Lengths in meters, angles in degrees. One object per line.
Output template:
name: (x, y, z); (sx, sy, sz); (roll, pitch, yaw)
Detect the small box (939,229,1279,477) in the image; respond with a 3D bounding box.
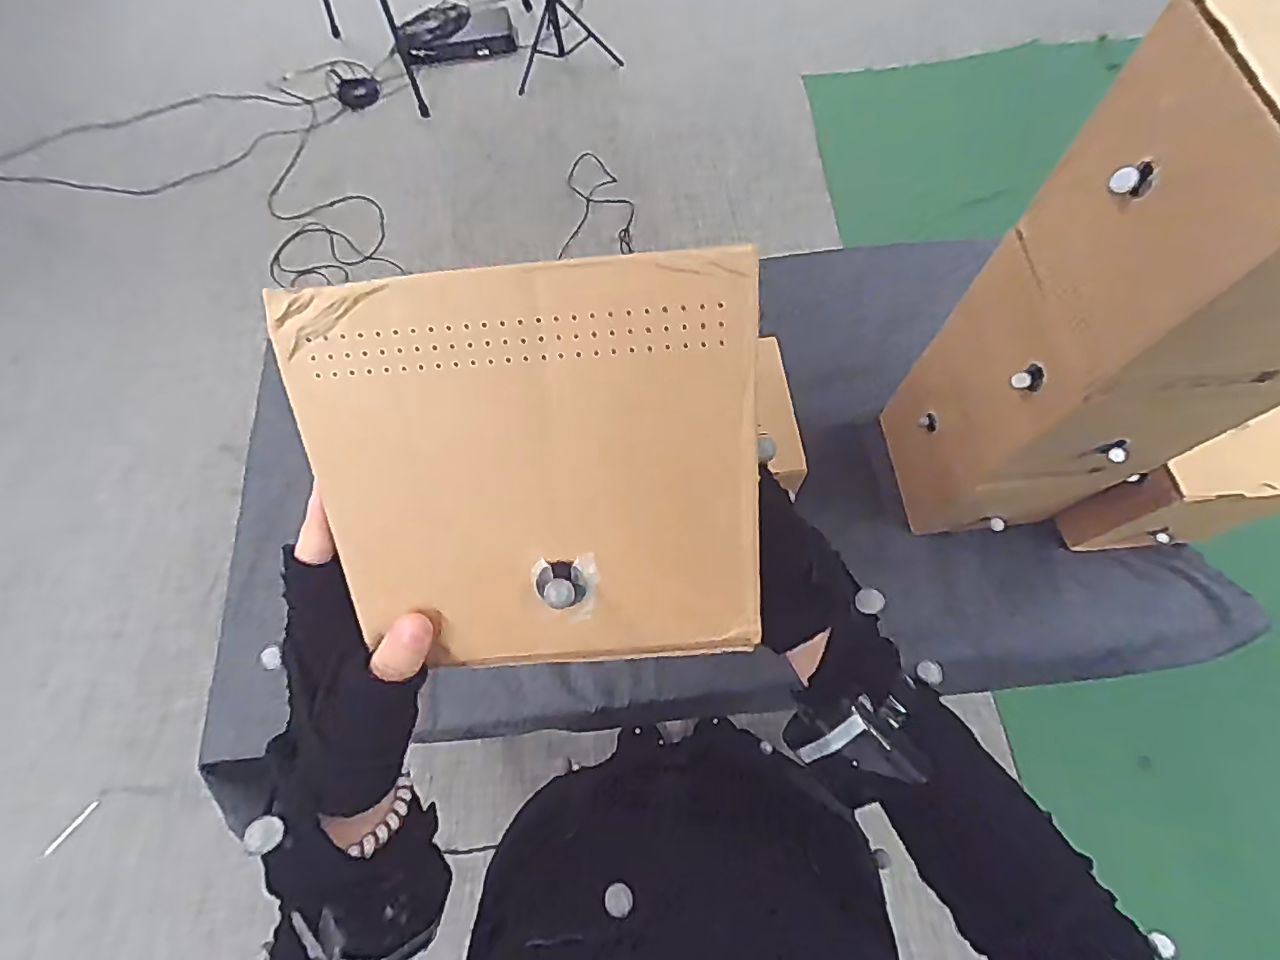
small box: (0.410, -0.109, 0.498); (0.168, 0.176, 0.179); (-4, 67, 3)

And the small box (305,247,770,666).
small box: (-0.033, -0.027, 0.290); (0.179, 0.168, 0.176); (-4, 110, 2)

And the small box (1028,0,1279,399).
small box: (0.396, -0.172, 0.347); (0.168, 0.176, 0.179); (-3, 66, 4)
